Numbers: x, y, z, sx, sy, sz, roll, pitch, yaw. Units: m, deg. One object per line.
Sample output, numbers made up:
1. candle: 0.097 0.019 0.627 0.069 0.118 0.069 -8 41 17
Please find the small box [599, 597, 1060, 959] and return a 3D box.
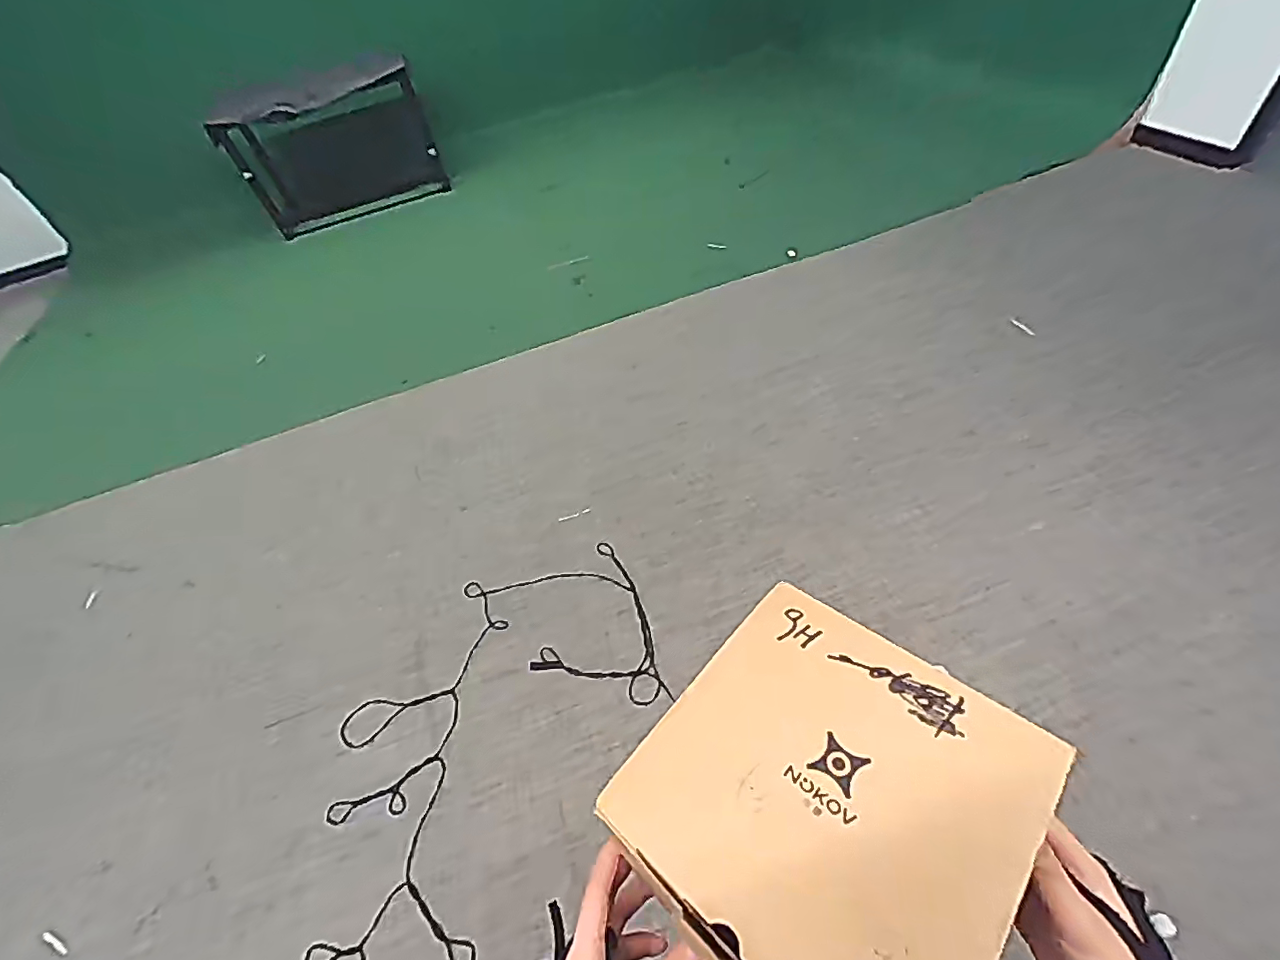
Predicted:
1. small box: 0.105 0.215 0.328 0.168 0.176 0.179 28 56 34
